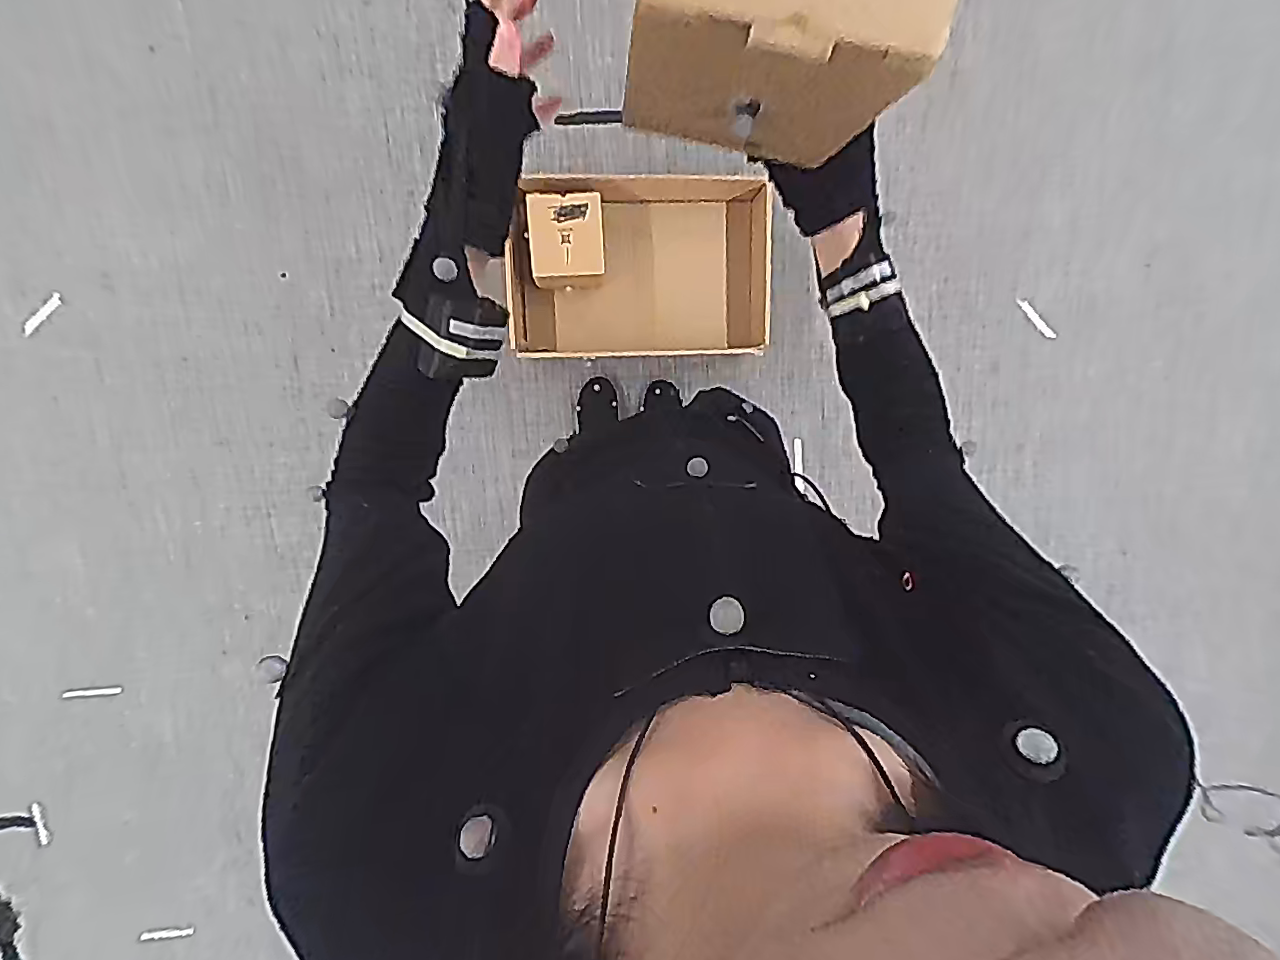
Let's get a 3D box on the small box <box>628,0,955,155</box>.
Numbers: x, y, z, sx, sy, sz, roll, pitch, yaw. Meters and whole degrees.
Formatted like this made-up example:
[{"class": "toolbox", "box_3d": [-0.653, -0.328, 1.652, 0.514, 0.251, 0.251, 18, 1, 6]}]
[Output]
[{"class": "small box", "box_3d": [0.085, -0.329, 0.332, 0.168, 0.176, 0.179, 7, 104, -5]}]
